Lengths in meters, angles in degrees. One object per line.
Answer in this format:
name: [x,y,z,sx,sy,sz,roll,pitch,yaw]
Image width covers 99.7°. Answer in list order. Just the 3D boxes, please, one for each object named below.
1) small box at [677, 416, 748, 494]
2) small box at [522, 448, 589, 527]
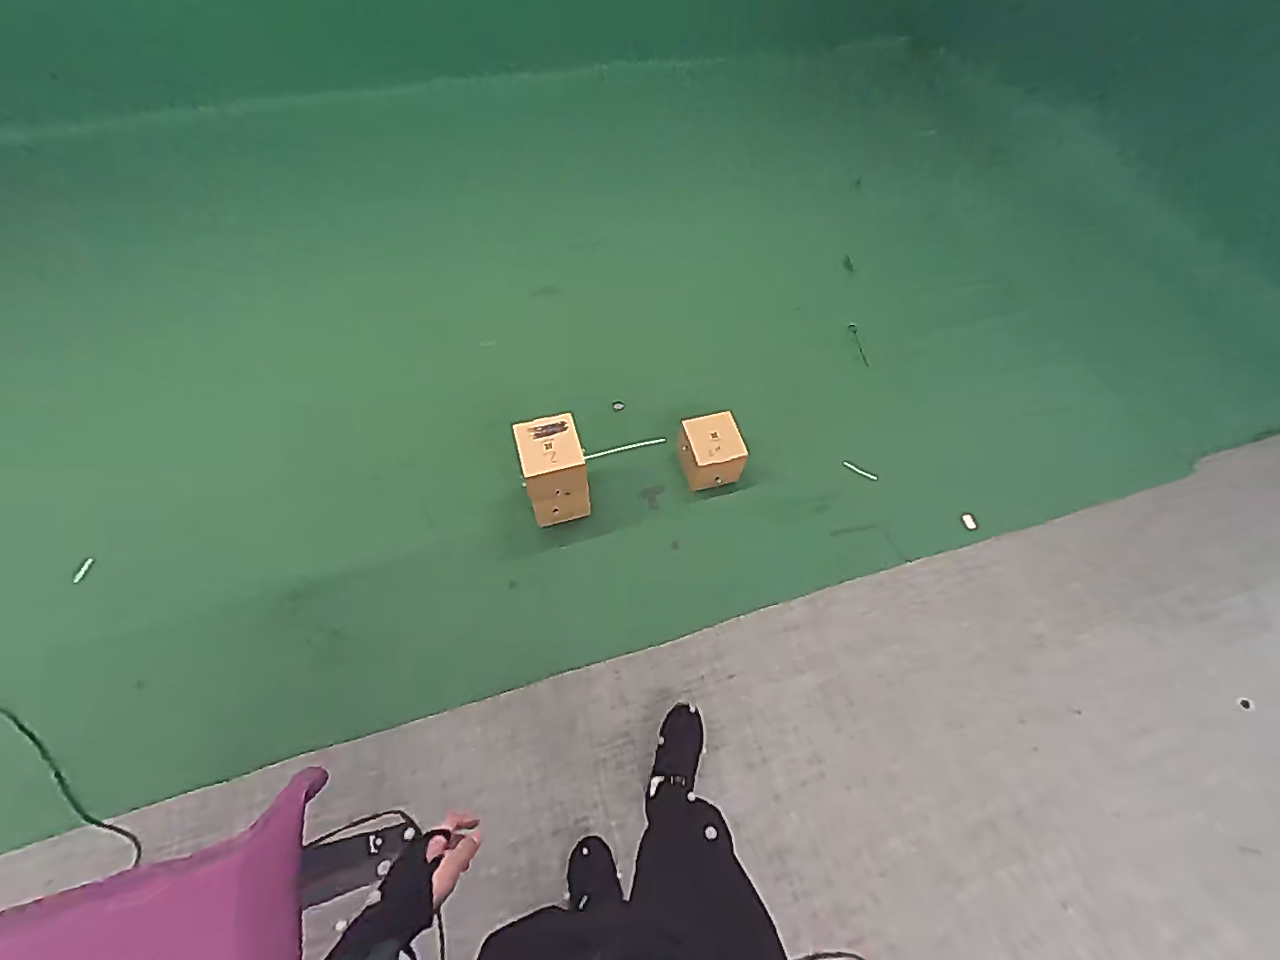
small box: [0.227,-0.080,1.756,0.168,0.176,0.179,-12,63,-10]
small box: [-0.255,0.030,1.668,0.168,0.176,0.179,-14,62,-11]
